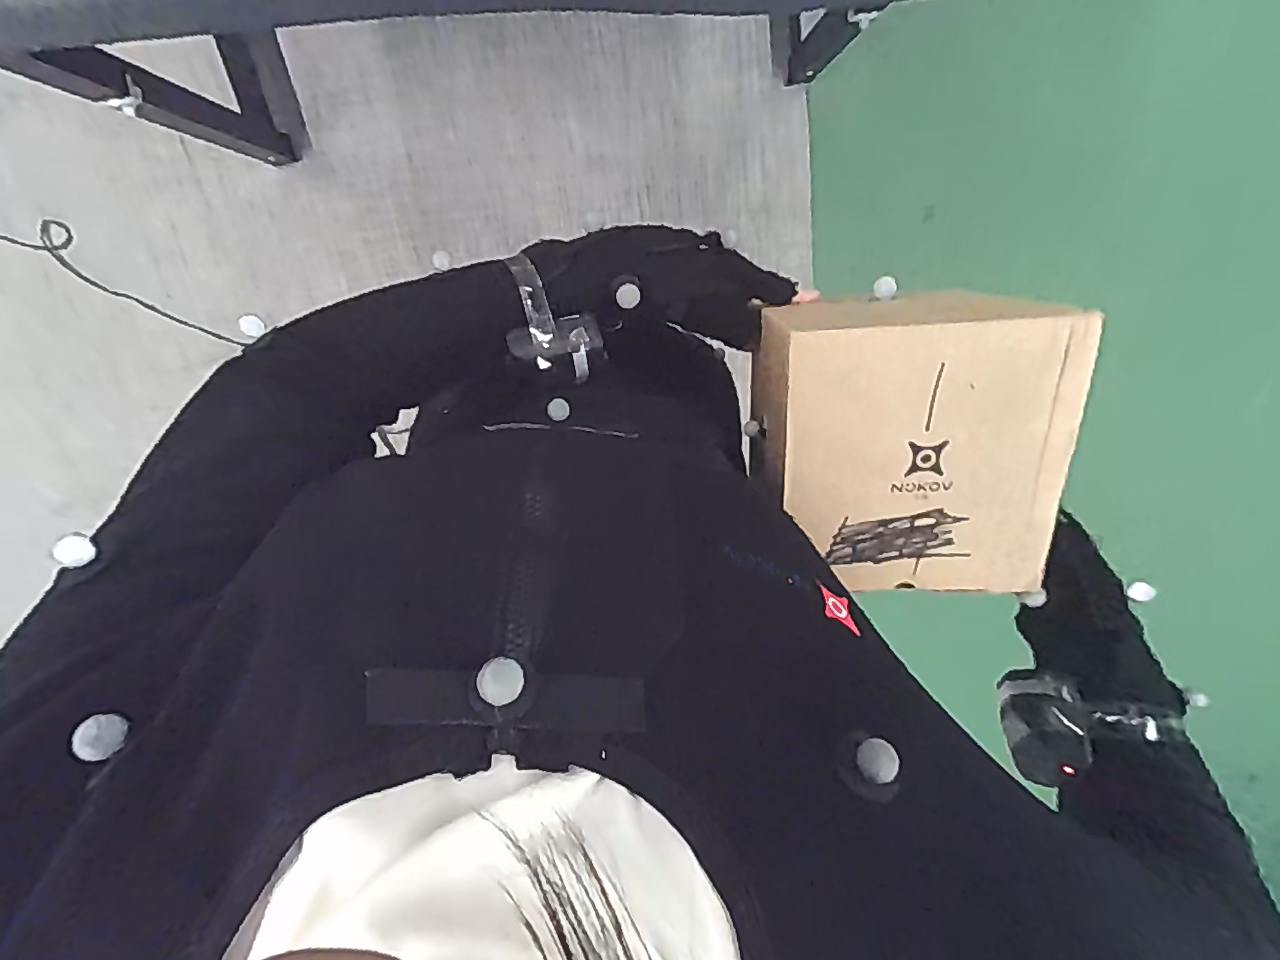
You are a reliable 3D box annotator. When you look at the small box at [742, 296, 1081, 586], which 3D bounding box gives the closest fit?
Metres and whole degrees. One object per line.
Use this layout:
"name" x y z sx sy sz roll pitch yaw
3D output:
"small box" 0.171 -0.040 0.409 0.168 0.176 0.179 -1 112 4
